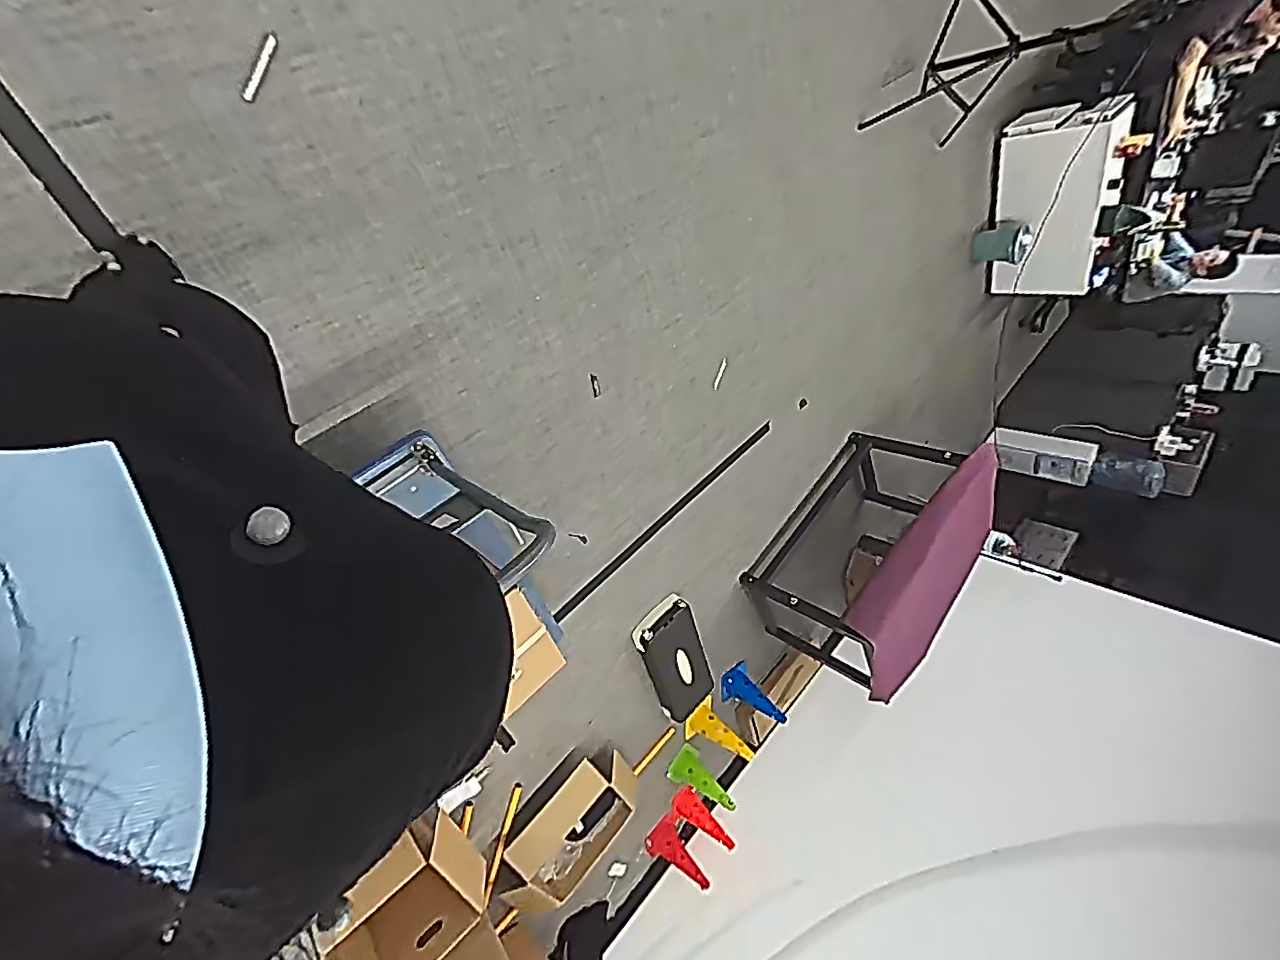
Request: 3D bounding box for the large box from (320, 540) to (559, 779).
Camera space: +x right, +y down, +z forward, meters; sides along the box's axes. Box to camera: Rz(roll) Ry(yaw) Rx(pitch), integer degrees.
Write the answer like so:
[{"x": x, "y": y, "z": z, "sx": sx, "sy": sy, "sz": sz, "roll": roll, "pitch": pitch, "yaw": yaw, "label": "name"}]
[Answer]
[{"x": -0.490, "y": 0.426, "z": 1.354, "sx": 0.408, "sy": 0.320, "sz": 0.320, "roll": -40, "pitch": 130, "yaw": -27, "label": "large box"}]
